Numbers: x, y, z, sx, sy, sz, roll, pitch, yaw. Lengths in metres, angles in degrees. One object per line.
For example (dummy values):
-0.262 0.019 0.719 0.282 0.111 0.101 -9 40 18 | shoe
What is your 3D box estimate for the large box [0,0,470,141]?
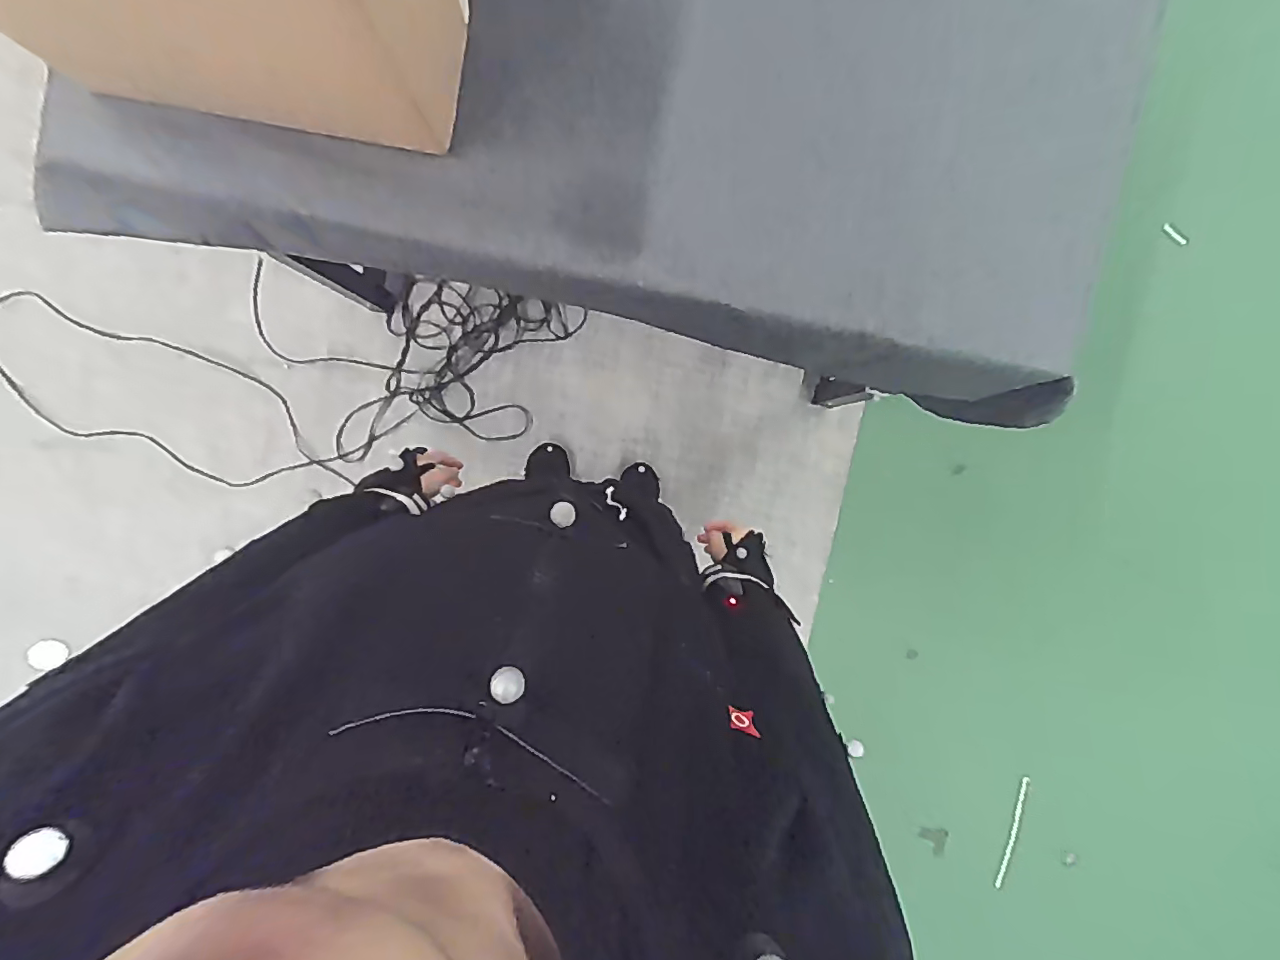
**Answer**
-0.377 -0.543 0.442 0.408 0.320 0.320 8 93 -4 | large box
